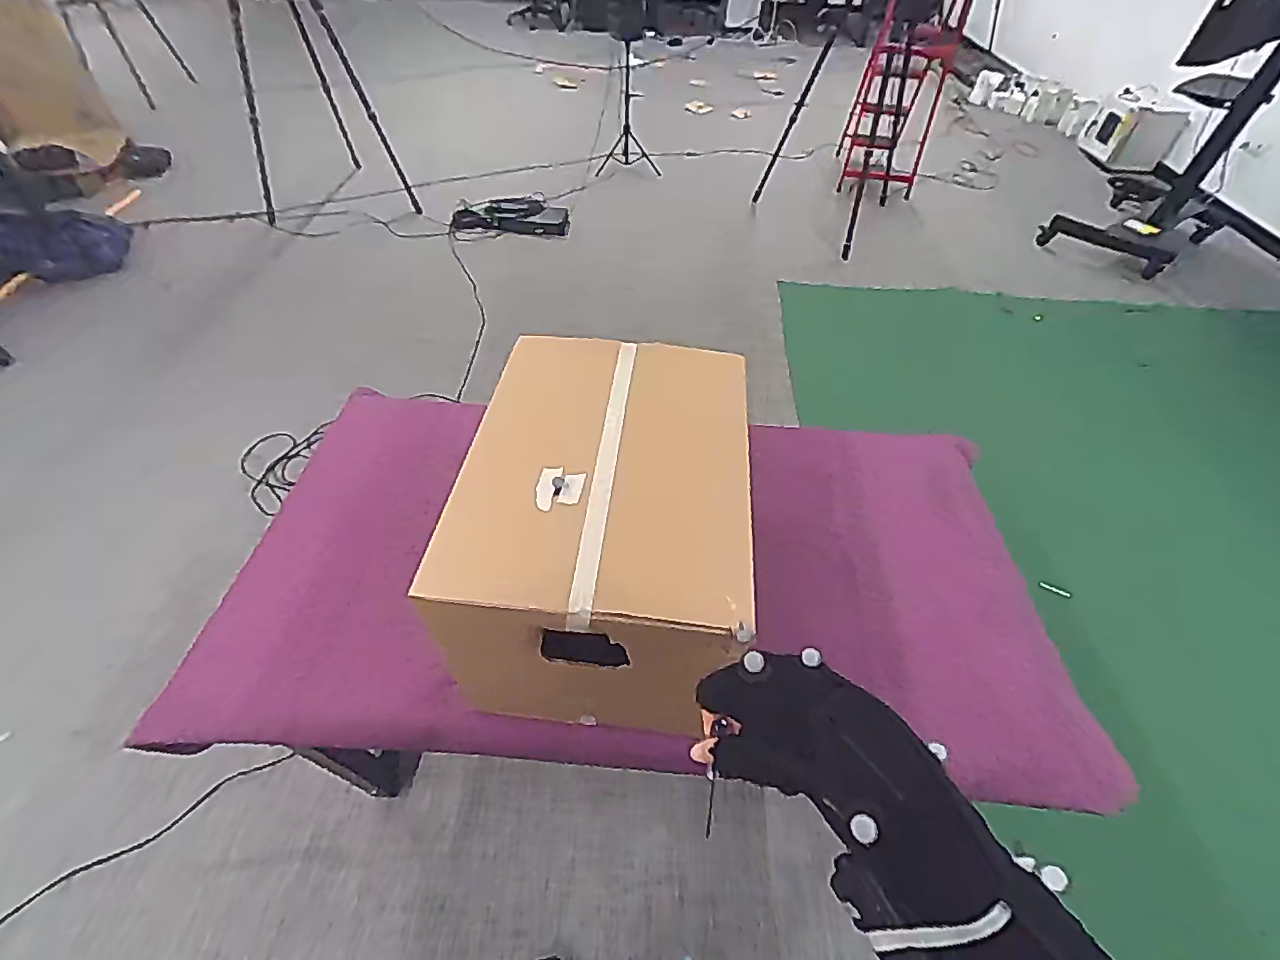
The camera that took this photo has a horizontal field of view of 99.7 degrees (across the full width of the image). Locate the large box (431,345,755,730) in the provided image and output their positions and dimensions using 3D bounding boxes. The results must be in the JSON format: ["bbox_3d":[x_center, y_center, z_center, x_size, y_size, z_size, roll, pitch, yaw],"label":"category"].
[{"bbox_3d":[-0.036,0.073,0.738,0.320,0.320,0.408,6,50,2],"label":"large box"}]
